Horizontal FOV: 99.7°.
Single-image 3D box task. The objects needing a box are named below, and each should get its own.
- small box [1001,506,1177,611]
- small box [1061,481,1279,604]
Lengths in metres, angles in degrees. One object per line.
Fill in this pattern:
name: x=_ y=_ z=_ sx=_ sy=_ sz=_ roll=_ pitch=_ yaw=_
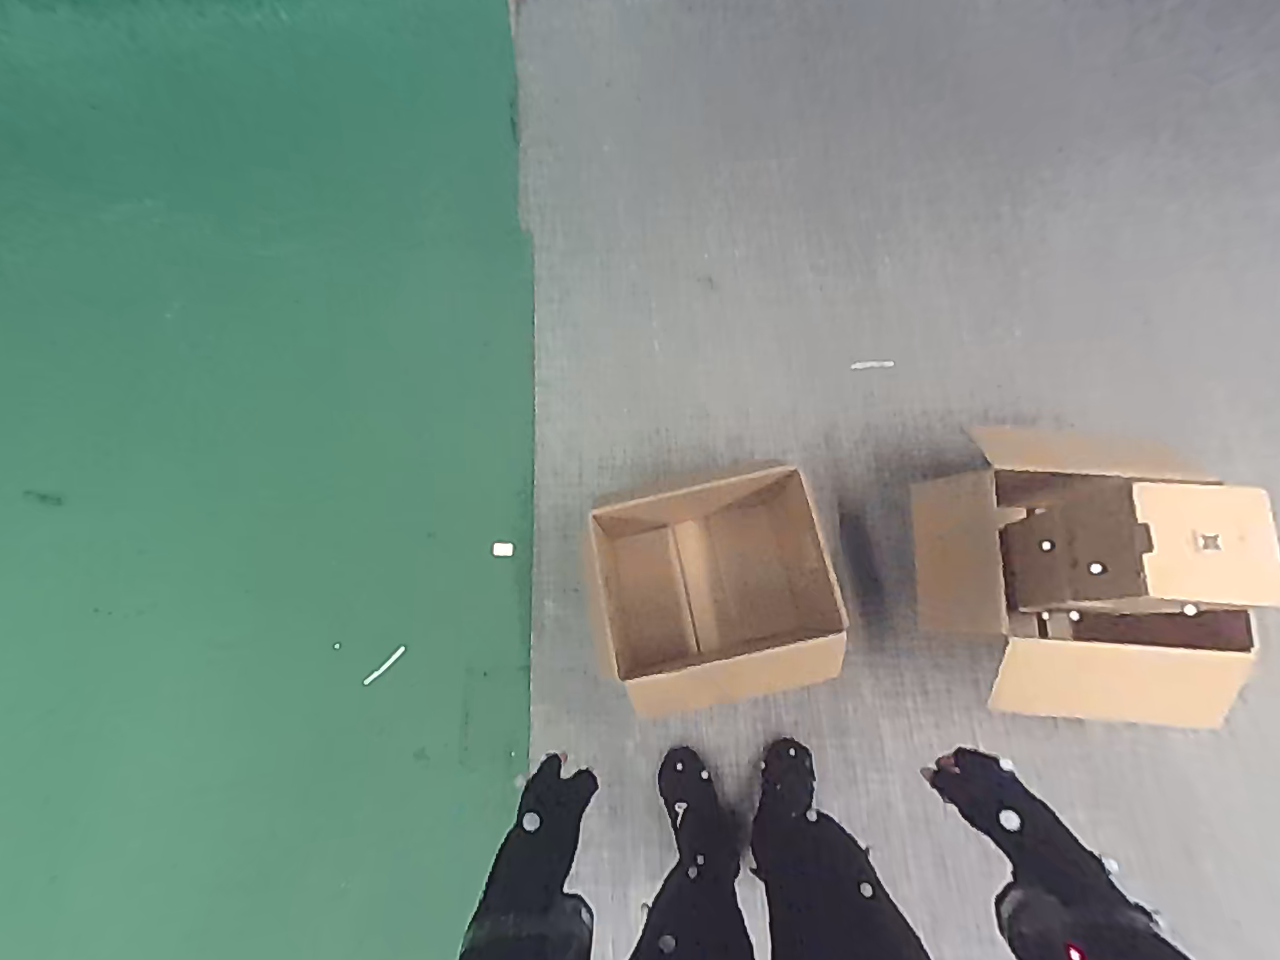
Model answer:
small box: x=0.806 y=0.149 z=0.990 sx=0.179 sy=0.176 sz=0.168 roll=2 pitch=74 yaw=6
small box: x=0.792 y=0.102 z=0.835 sx=0.179 sy=0.176 sz=0.168 roll=2 pitch=76 yaw=5
